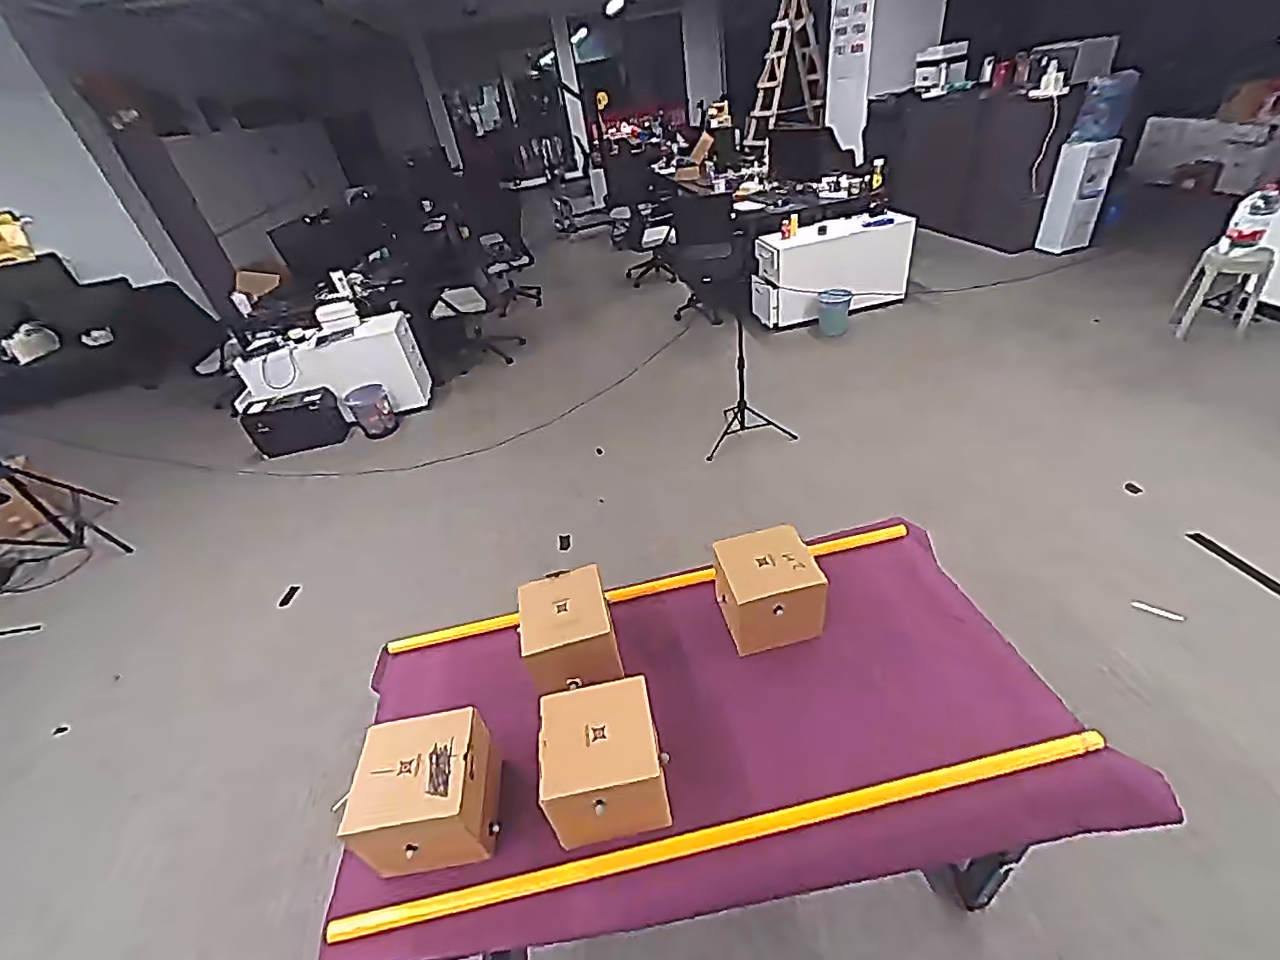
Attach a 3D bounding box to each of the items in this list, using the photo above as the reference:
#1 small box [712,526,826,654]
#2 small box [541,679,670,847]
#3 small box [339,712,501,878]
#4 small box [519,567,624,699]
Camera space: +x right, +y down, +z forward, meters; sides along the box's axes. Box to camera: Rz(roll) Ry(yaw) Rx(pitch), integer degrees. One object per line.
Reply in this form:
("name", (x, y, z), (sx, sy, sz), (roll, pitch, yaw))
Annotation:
("small box", (0.256, 0.225, 1.092), (0.179, 0.176, 0.168), (-13, 38, -4))
("small box", (-0.052, 0.452, 0.865), (0.179, 0.176, 0.168), (-12, 36, -2))
("small box", (-0.331, 0.501, 0.861), (0.179, 0.176, 0.168), (-10, 36, 0))
("small box", (-0.137, 0.308, 1.077), (0.168, 0.176, 0.179), (-15, 38, -5))
